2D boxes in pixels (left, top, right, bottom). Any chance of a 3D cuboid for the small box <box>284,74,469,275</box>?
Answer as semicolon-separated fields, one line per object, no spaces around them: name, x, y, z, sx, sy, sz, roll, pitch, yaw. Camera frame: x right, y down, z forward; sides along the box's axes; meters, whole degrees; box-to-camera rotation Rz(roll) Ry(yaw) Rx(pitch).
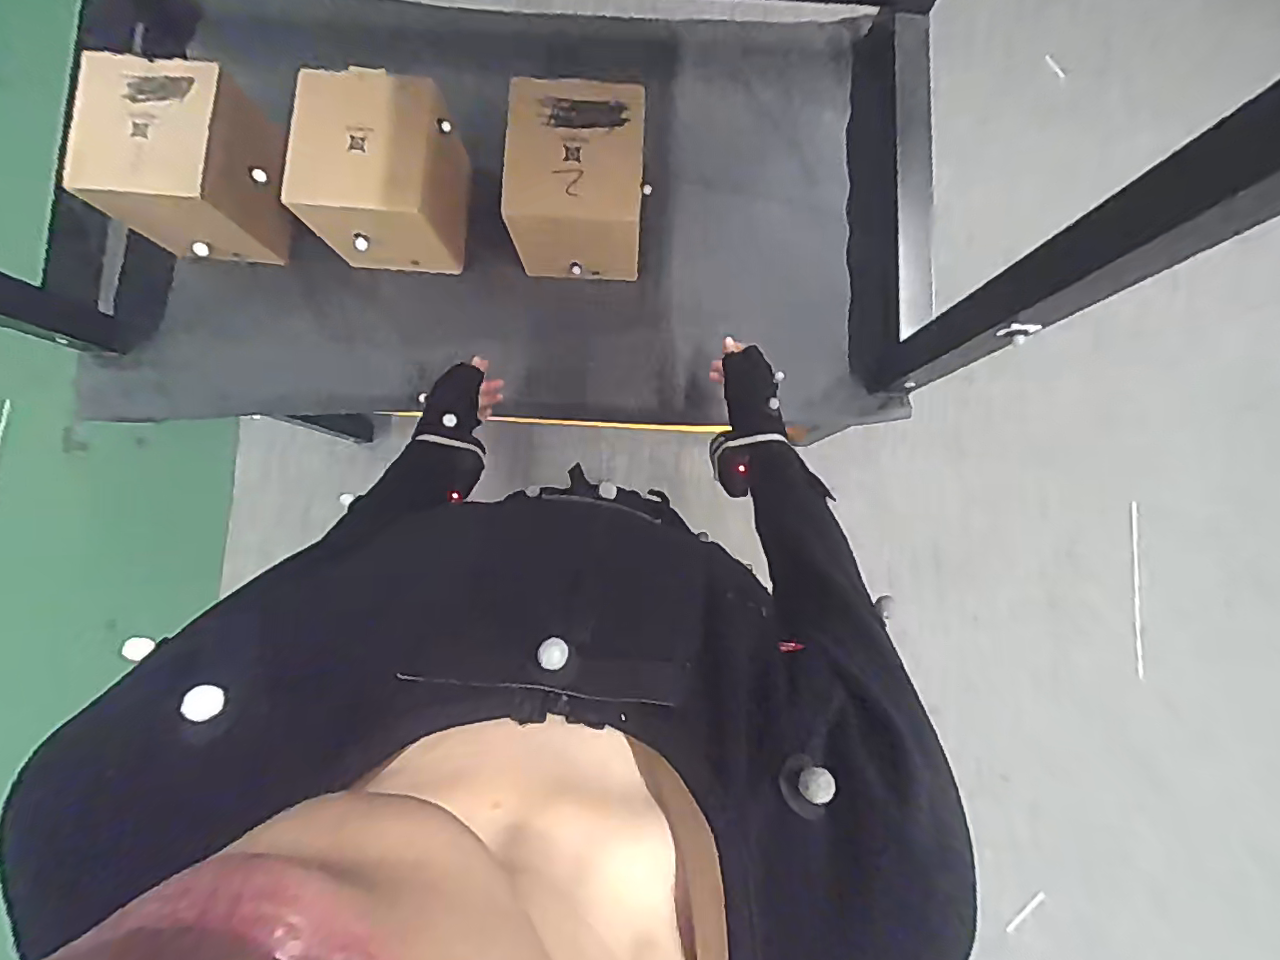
small box;-0.341;-0.399;0.734;0.168;0.176;0.179;4;84;-1

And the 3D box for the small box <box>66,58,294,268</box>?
small box;-0.594;-0.413;0.728;0.168;0.176;0.179;4;85;0
